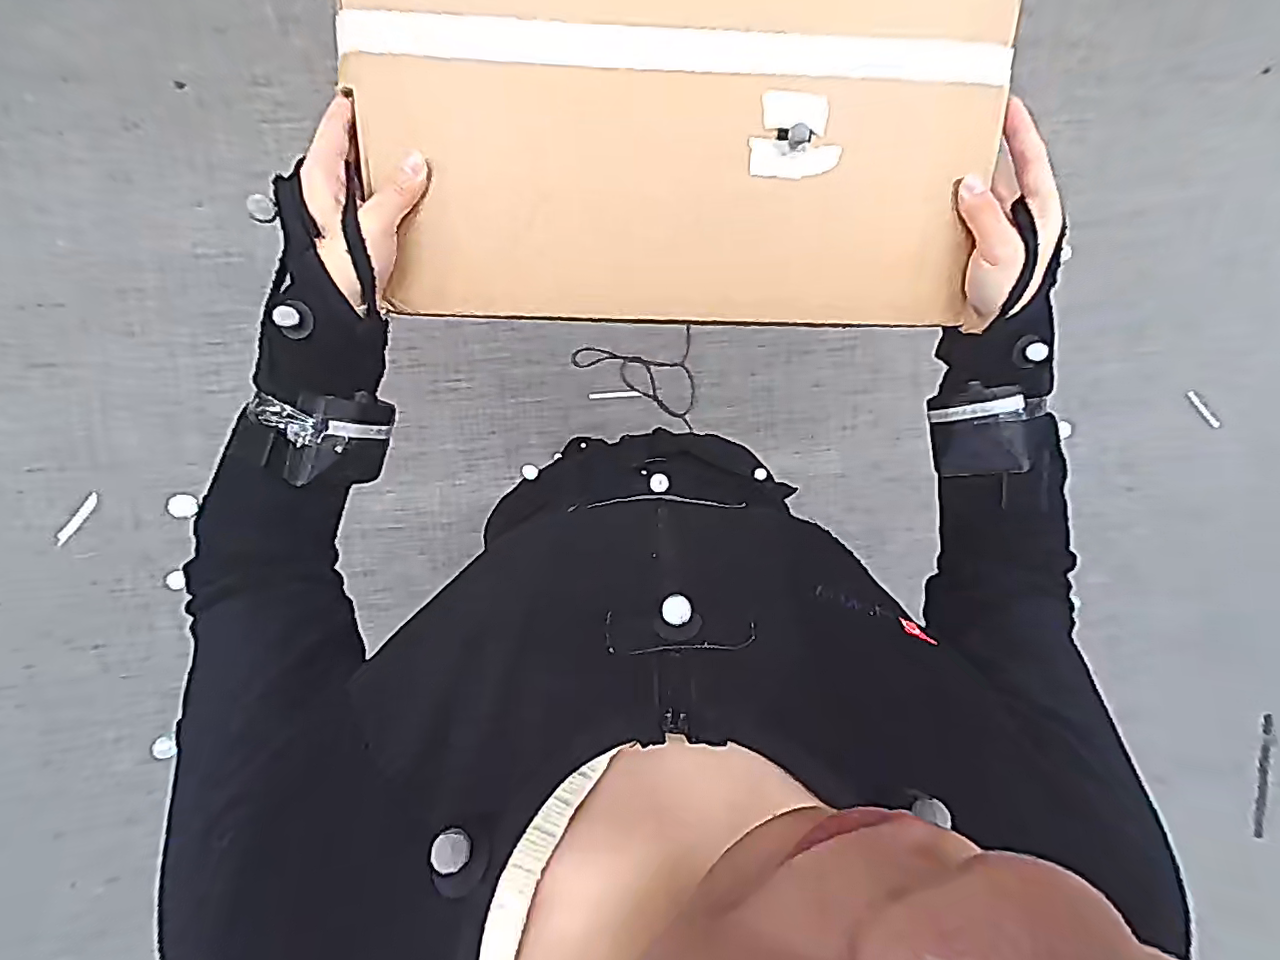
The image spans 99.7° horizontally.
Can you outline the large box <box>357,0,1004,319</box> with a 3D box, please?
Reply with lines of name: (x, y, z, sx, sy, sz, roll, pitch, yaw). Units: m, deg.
large box: (0.017, -0.307, 0.479, 0.408, 0.320, 0.320, 0, 107, -5)
